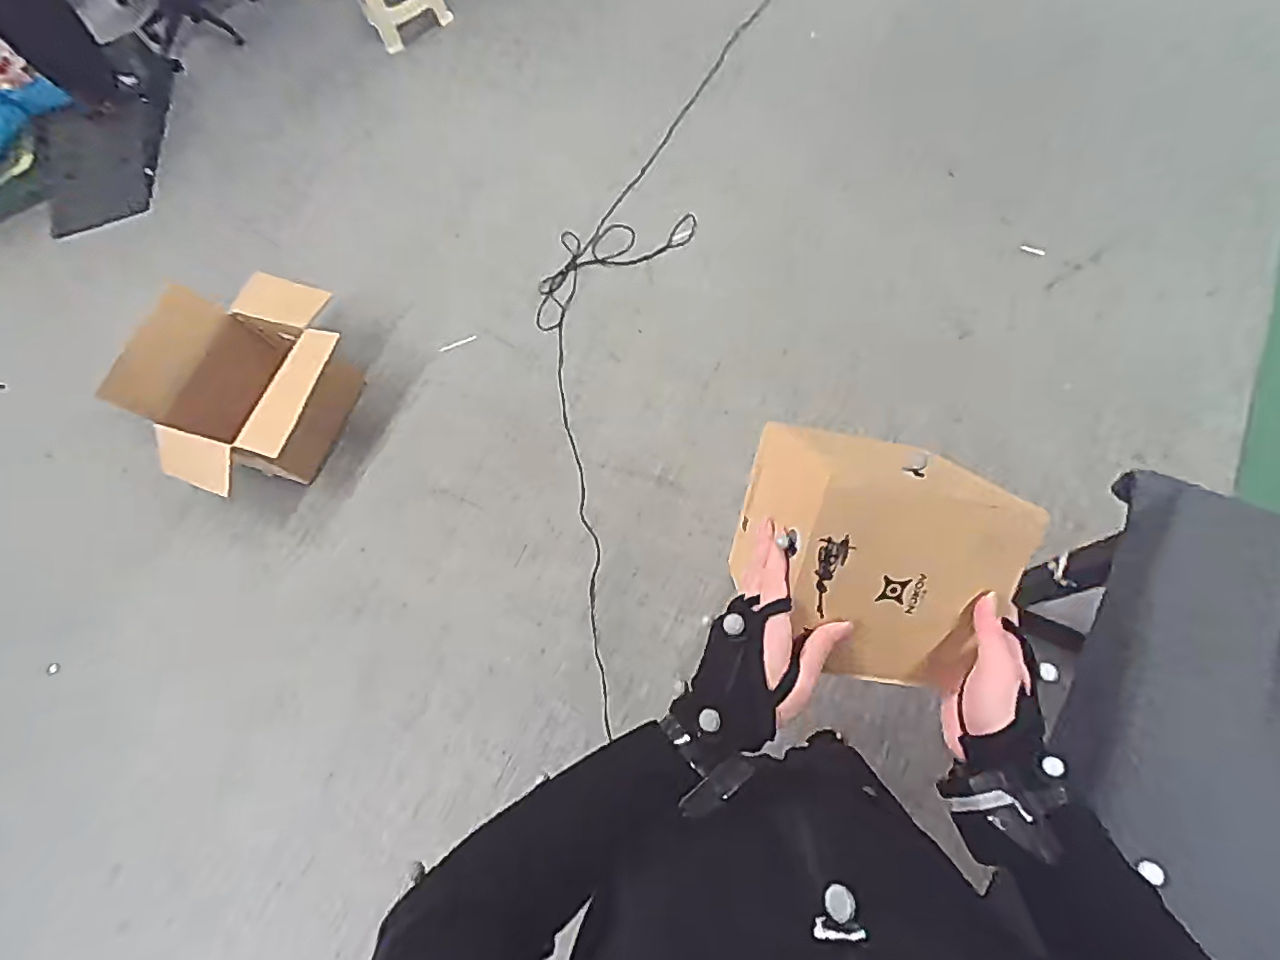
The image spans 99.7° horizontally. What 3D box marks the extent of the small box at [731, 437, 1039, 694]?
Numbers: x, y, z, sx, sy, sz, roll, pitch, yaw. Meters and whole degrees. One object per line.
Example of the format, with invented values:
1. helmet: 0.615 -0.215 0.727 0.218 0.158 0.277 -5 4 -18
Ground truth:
1. small box: 0.200 0.067 0.499 0.179 0.176 0.168 9 108 -5
